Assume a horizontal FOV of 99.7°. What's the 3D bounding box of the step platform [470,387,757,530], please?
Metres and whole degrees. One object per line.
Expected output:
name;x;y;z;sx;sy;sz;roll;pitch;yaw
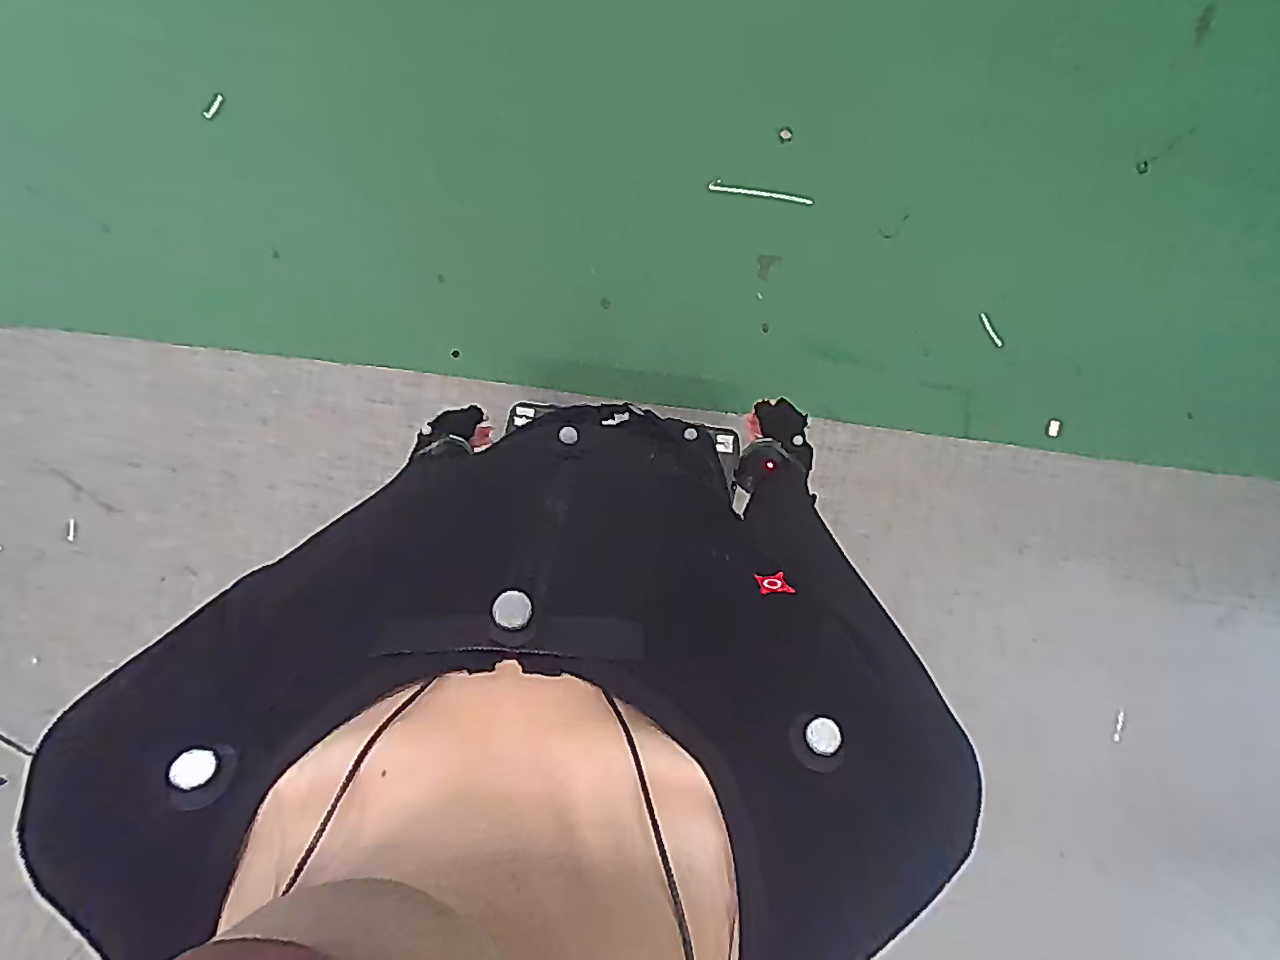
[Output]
step platform;-0.064;-0.057;1.378;0.684;0.204;0.286;6;96;-1
